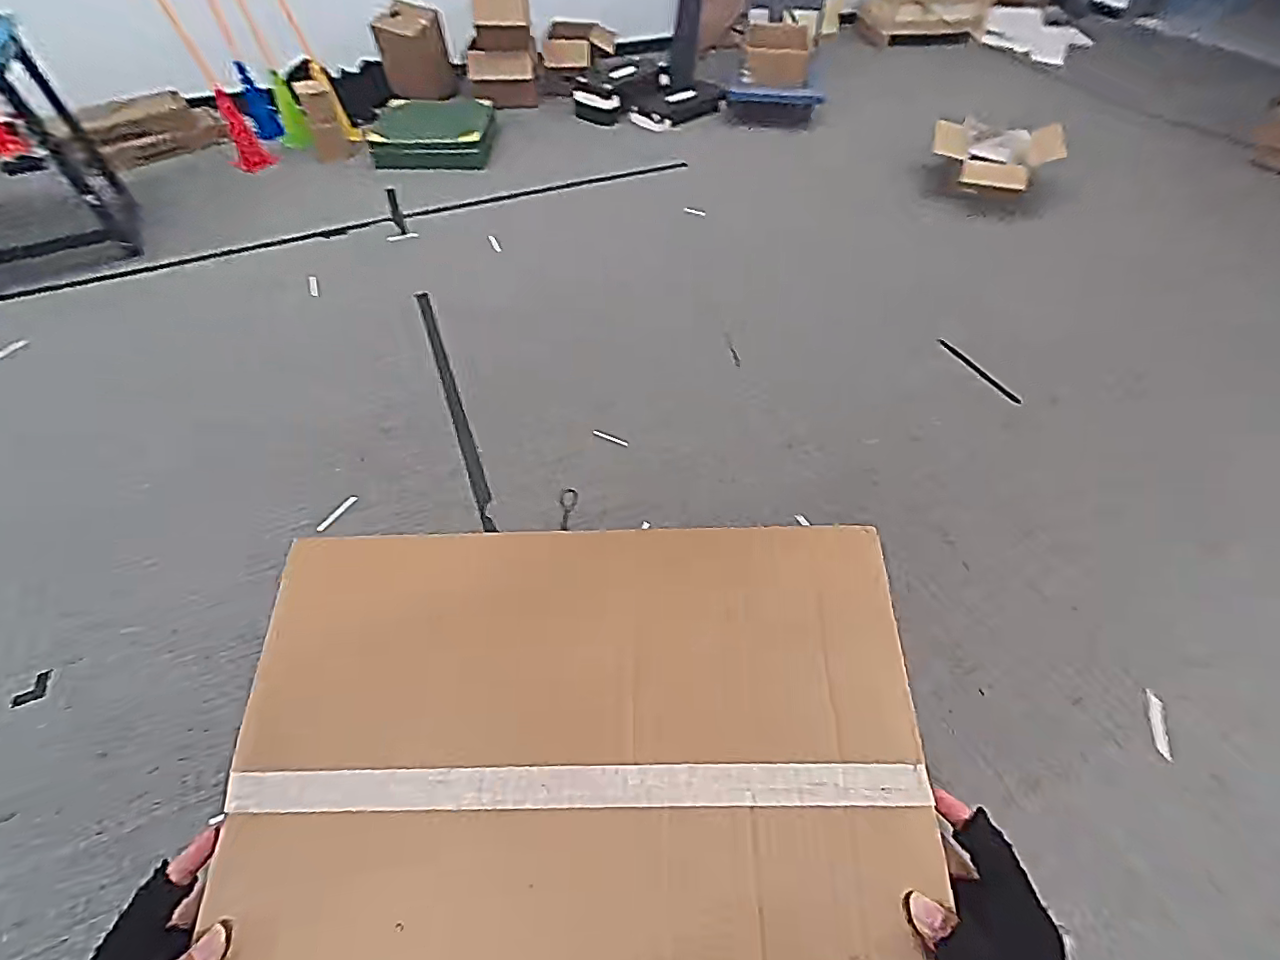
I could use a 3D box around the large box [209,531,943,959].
[{"bbox_3d":[-0.035,0.246,0.459,0.408,0.320,0.320,-2,66,2],"label":"large box"}]
